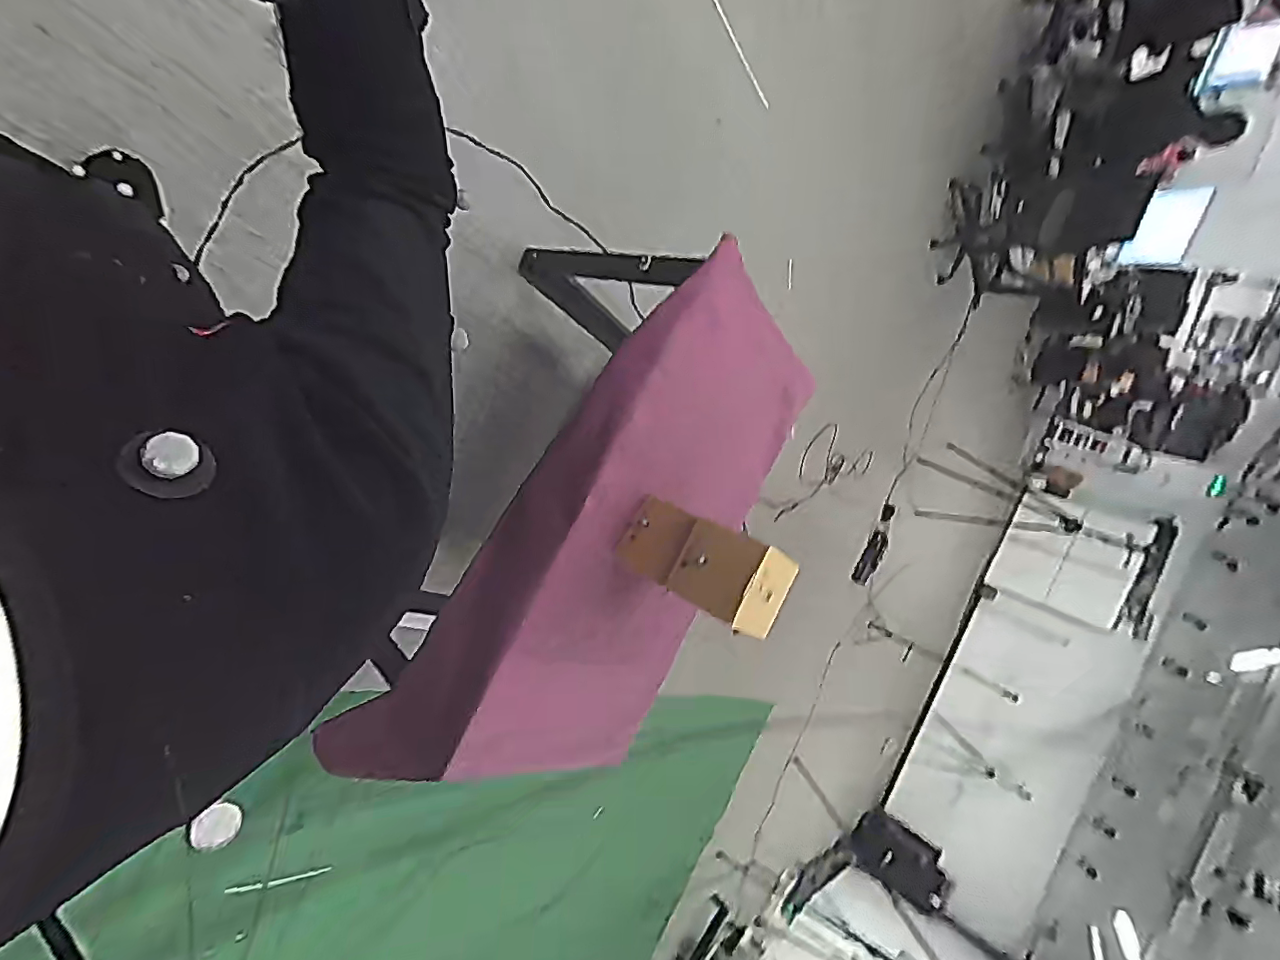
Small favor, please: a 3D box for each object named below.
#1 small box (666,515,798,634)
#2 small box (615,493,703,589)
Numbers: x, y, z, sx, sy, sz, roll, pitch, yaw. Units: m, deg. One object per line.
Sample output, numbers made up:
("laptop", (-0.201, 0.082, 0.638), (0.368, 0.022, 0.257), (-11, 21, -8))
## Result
("small box", (0.186, 0.189, 1.097), (0.179, 0.176, 0.168), (34, 81, -49))
("small box", (0.078, 0.147, 1.215), (0.179, 0.176, 0.168), (37, 80, -48))
